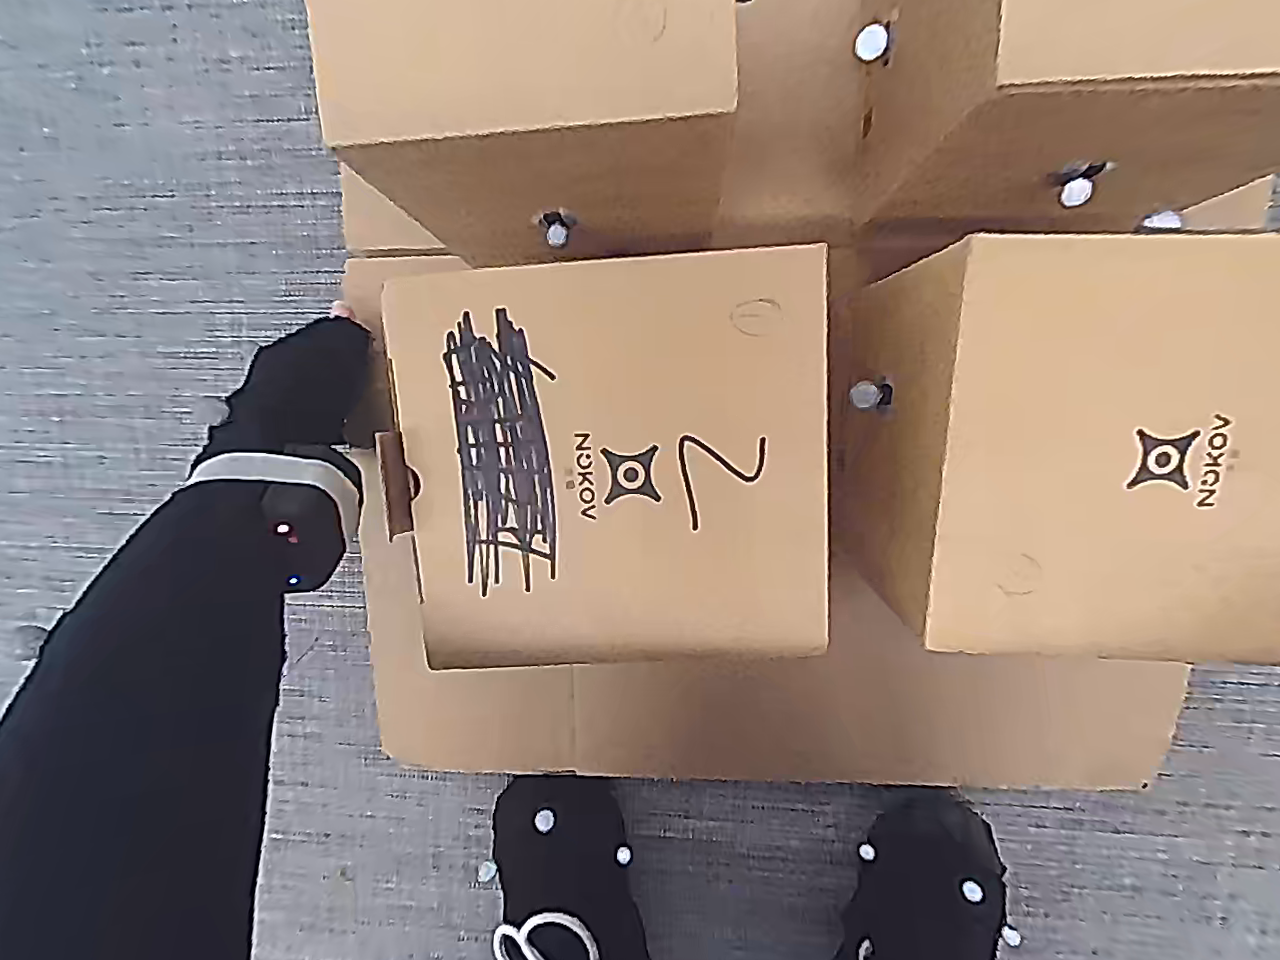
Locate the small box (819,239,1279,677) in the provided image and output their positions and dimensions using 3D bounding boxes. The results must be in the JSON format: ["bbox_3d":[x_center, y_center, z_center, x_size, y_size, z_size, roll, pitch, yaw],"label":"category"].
[{"bbox_3d":[0.206,-0.018,0.286,0.179,0.176,0.168,2,101,3],"label":"small box"}]

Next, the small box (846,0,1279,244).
[{"bbox_3d":[0.219,-0.225,0.263,0.179,0.176,0.168,2,96,5],"label":"small box"}]
